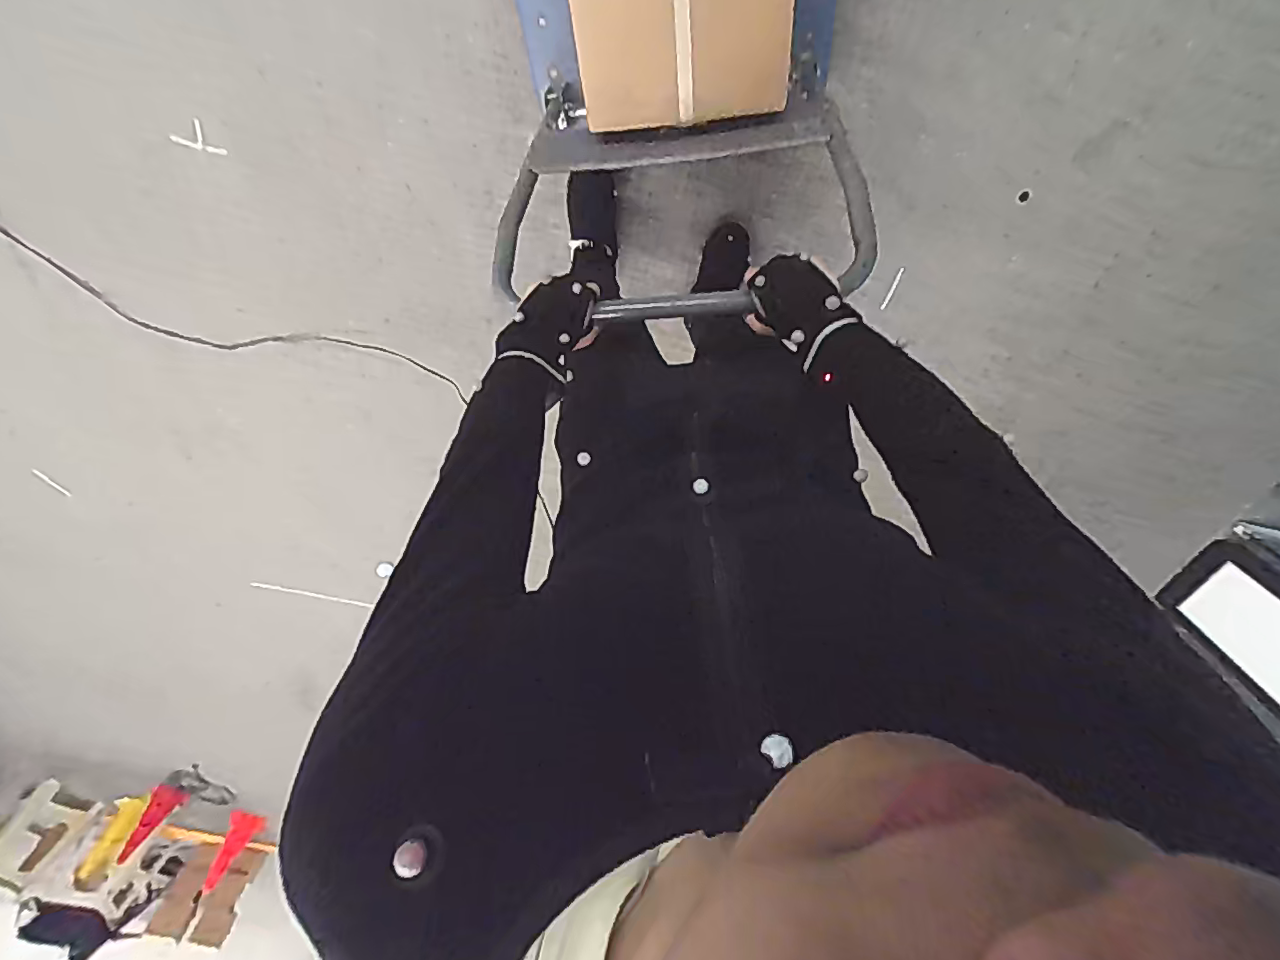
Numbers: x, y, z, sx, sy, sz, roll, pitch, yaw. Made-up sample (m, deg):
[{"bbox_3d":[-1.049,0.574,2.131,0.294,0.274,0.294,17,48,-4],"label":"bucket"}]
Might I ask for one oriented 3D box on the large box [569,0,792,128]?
[{"bbox_3d":[0.058,-0.818,0.810,0.320,0.320,0.408,-2,138,8],"label":"large box"}]
